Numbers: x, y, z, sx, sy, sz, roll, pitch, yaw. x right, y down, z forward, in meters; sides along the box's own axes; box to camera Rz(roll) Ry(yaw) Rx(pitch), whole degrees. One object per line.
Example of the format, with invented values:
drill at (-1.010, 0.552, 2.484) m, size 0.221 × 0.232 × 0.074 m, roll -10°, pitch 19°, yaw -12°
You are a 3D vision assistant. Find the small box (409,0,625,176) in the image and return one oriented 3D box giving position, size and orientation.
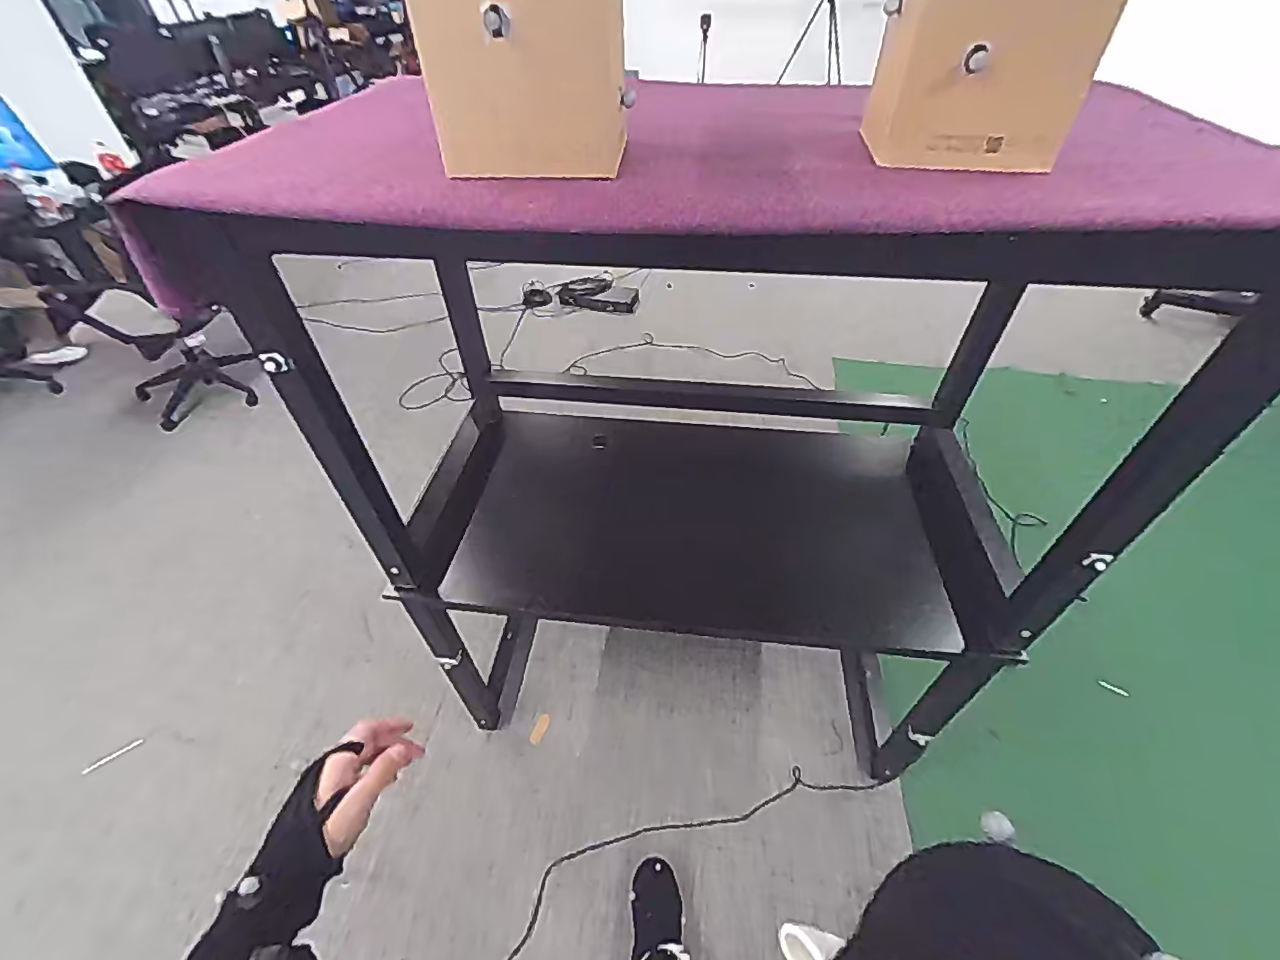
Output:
small box at (-0.111, -0.421, 0.548) m, size 0.179 × 0.176 × 0.168 m, roll 2°, pitch 44°, yaw 3°

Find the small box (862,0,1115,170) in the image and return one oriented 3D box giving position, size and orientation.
small box at (0.338, -0.428, 0.550) m, size 0.168 × 0.176 × 0.179 m, roll 6°, pitch 44°, yaw 8°
